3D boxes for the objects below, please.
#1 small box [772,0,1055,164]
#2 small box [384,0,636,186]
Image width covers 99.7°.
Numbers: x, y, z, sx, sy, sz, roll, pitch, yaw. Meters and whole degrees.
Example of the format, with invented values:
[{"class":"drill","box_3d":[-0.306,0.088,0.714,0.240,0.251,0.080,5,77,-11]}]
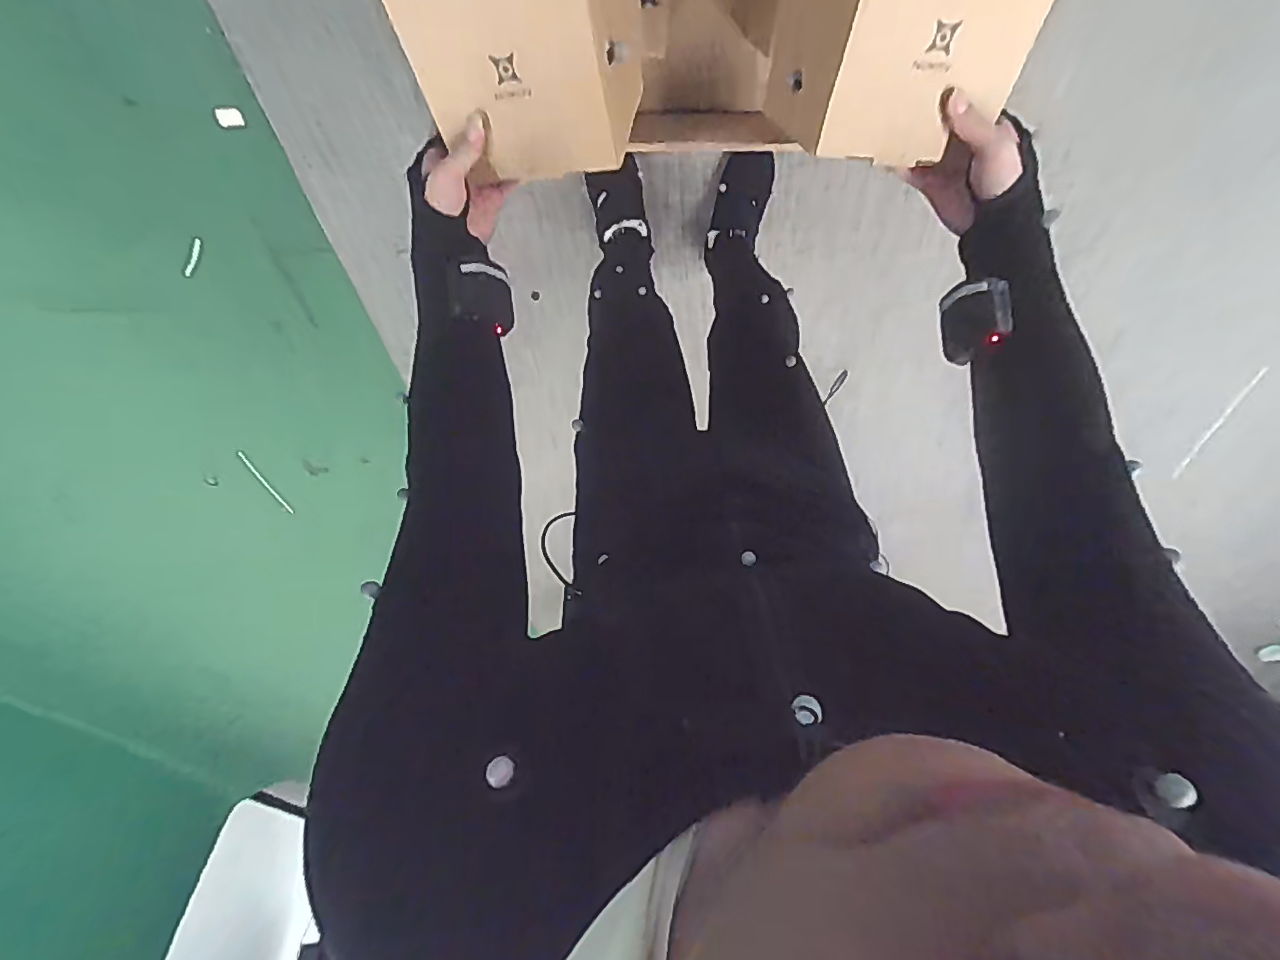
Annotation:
[{"class":"small box","box_3d":[0.232,-0.412,0.488,0.168,0.176,0.179,-1,135,-8]},{"class":"small box","box_3d":[-0.104,-0.413,0.505,0.168,0.176,0.179,0,147,12]}]
